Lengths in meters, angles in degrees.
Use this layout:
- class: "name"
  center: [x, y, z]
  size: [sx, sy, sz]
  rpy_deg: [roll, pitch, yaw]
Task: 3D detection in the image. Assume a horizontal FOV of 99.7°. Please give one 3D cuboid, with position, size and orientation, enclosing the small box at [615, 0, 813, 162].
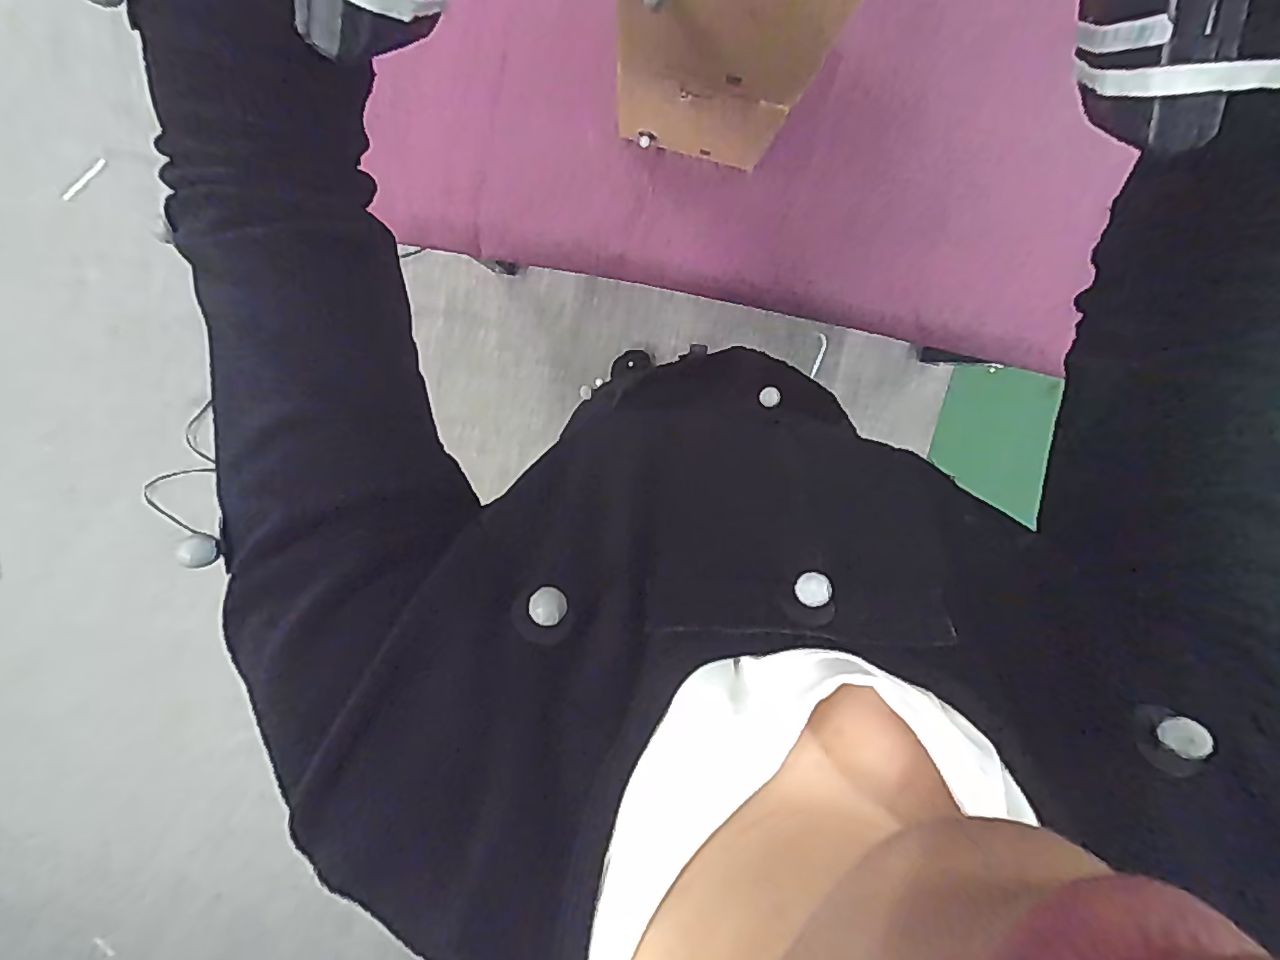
- class: "small box"
  center: [0.075, -0.461, 0.557]
  size: [0.168, 0.176, 0.179]
  rpy_deg: [12, 101, -4]
